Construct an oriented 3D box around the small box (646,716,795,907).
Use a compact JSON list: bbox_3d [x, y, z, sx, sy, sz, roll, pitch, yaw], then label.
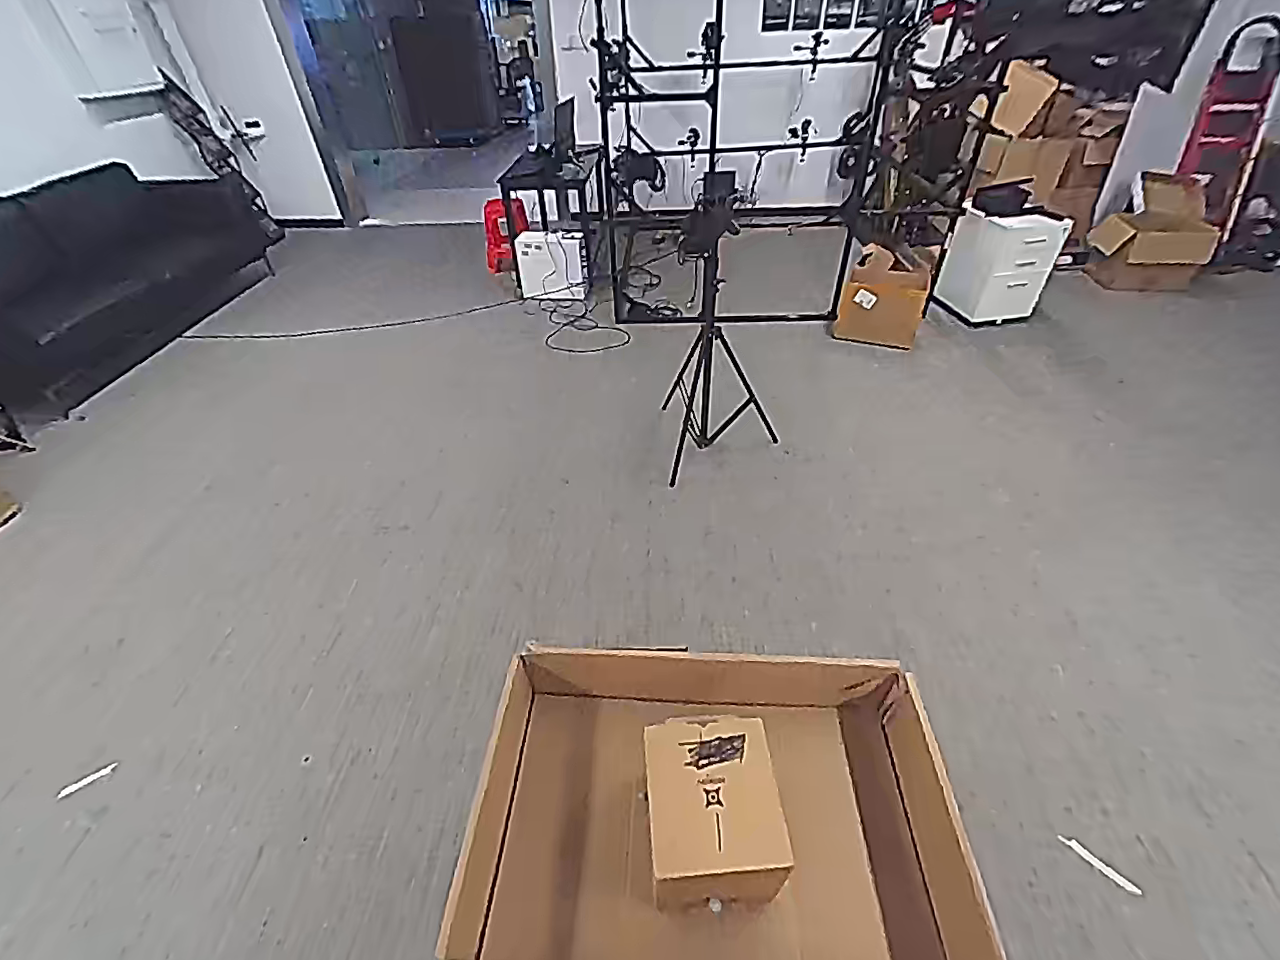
[{"bbox_3d":[0.095,0.448,0.734,0.168,0.176,0.179,-4,42,-2],"label":"small box"}]
